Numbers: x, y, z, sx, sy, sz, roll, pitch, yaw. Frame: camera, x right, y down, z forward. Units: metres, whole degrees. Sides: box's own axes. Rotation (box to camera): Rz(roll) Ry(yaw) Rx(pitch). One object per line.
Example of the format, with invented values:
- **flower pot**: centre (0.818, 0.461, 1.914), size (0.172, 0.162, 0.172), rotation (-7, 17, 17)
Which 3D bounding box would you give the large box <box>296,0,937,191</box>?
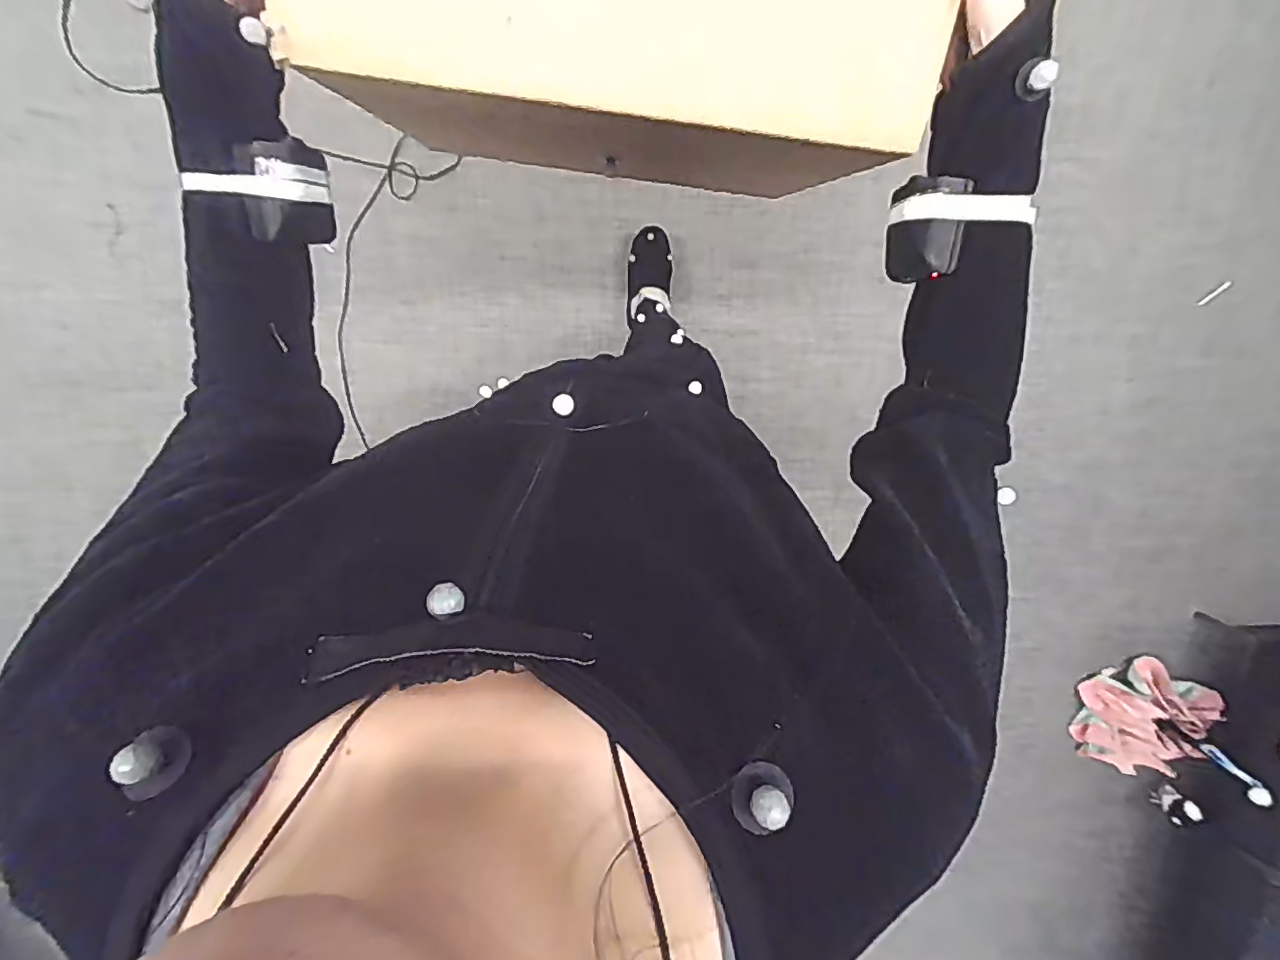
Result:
- **large box**: centre (-0.006, -0.436, 0.437), size (0.408, 0.320, 0.320), rotation (5, 112, -6)
